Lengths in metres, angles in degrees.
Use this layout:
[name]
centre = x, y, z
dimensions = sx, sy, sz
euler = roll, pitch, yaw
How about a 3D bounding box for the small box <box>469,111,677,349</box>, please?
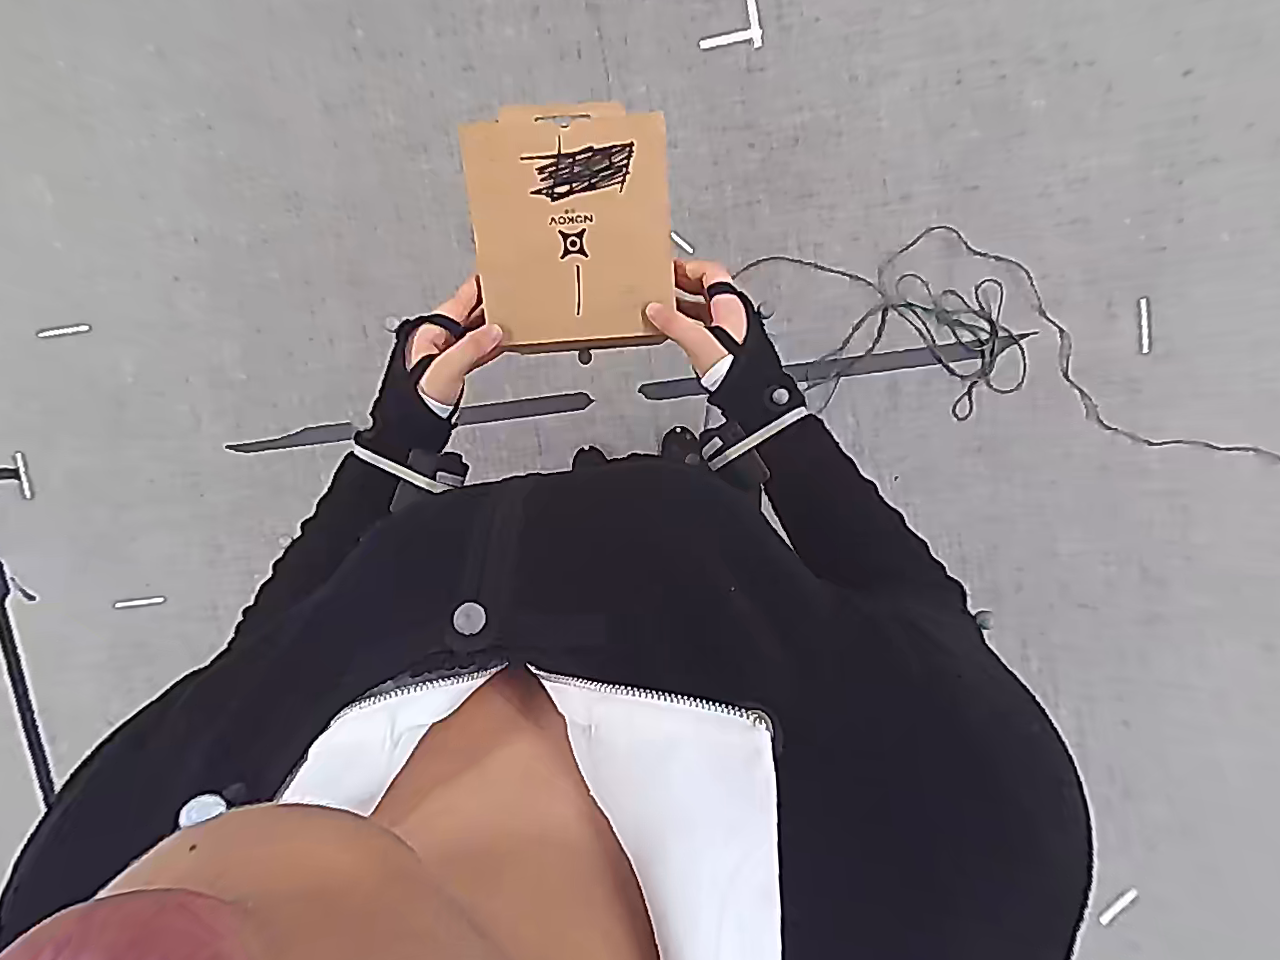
[small box]
centre = -0.058, -0.227, 0.532
dimensions = 0.168, 0.176, 0.179
euler = -4, 102, -2
